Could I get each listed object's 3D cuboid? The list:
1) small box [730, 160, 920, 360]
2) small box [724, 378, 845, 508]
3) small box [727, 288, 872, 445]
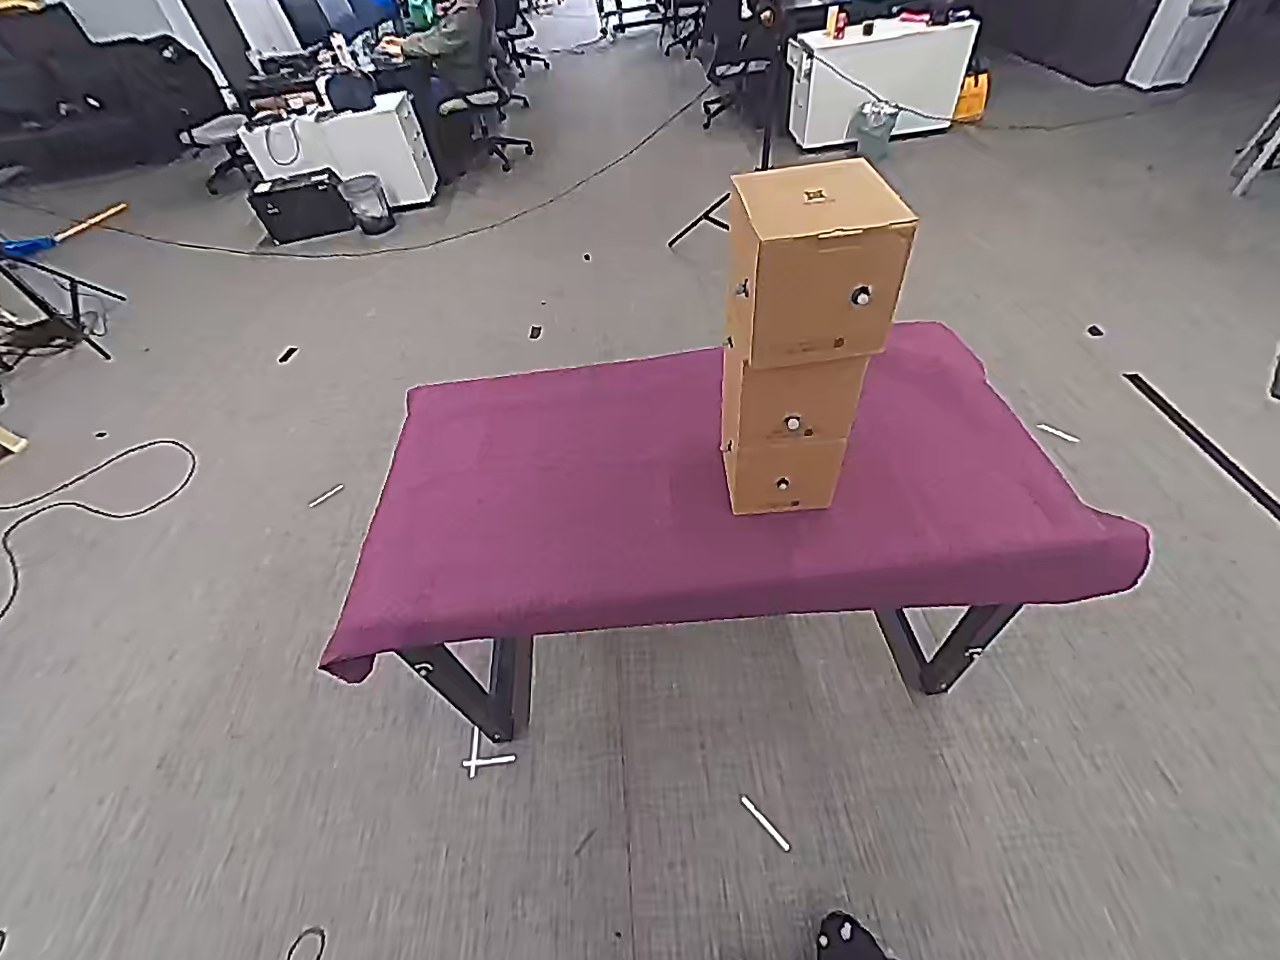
[{"bbox_3d":[0.208,-0.262,0.664,0.168,0.176,0.179,-7,48,1],"label":"small box"},{"bbox_3d":[0.234,-0.063,0.922,0.168,0.176,0.179,-4,49,4],"label":"small box"},{"bbox_3d":[0.220,-0.173,0.800,0.168,0.176,0.179,-5,50,4],"label":"small box"}]
